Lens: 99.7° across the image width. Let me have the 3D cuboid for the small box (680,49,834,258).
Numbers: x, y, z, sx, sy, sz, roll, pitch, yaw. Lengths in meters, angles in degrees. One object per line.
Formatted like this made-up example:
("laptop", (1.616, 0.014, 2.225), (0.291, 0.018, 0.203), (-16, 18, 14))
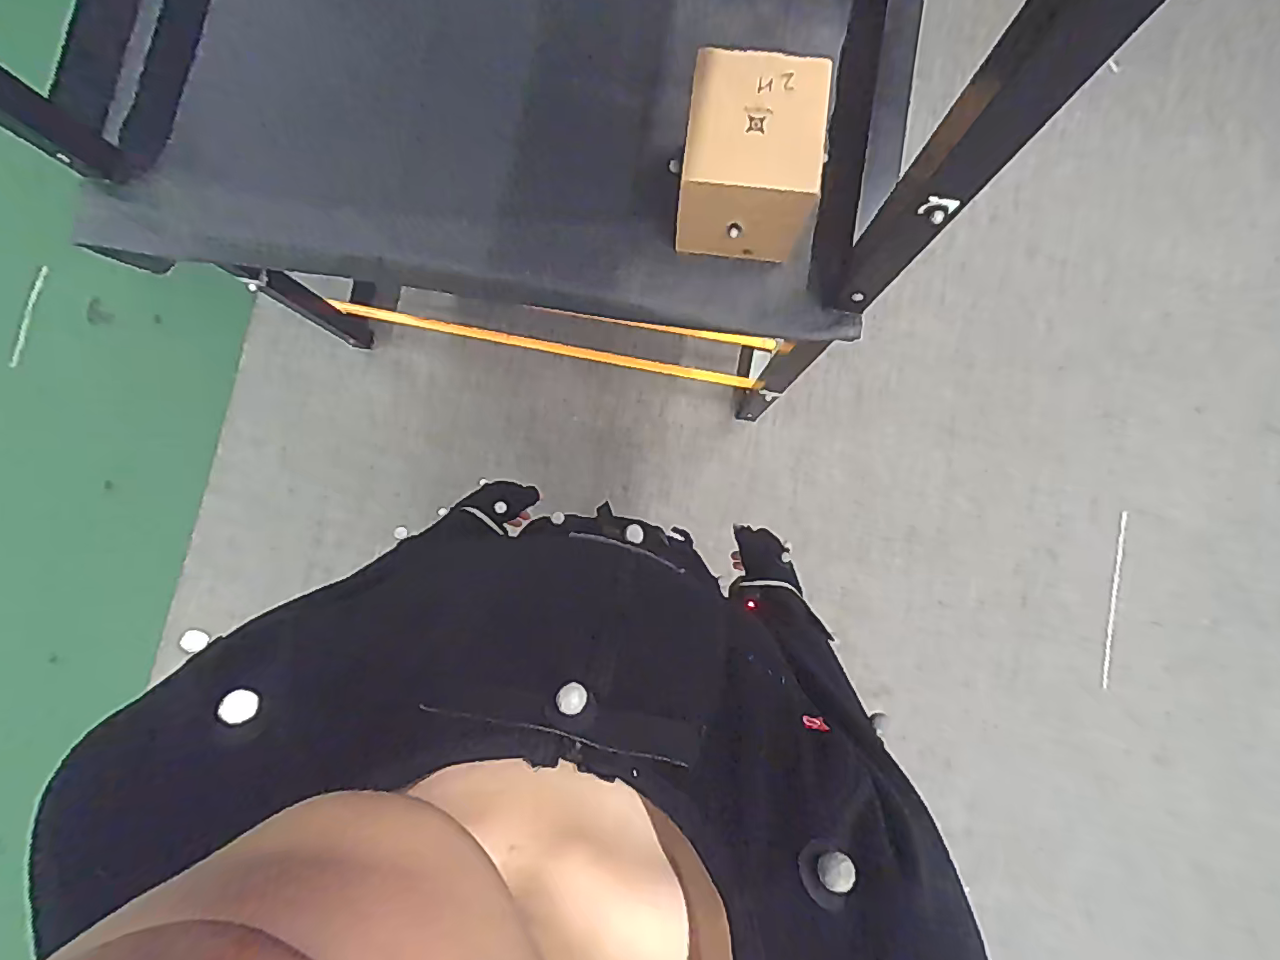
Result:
("small box", (0.146, -0.424, 0.730), (0.168, 0.176, 0.179), (7, 85, 1))
